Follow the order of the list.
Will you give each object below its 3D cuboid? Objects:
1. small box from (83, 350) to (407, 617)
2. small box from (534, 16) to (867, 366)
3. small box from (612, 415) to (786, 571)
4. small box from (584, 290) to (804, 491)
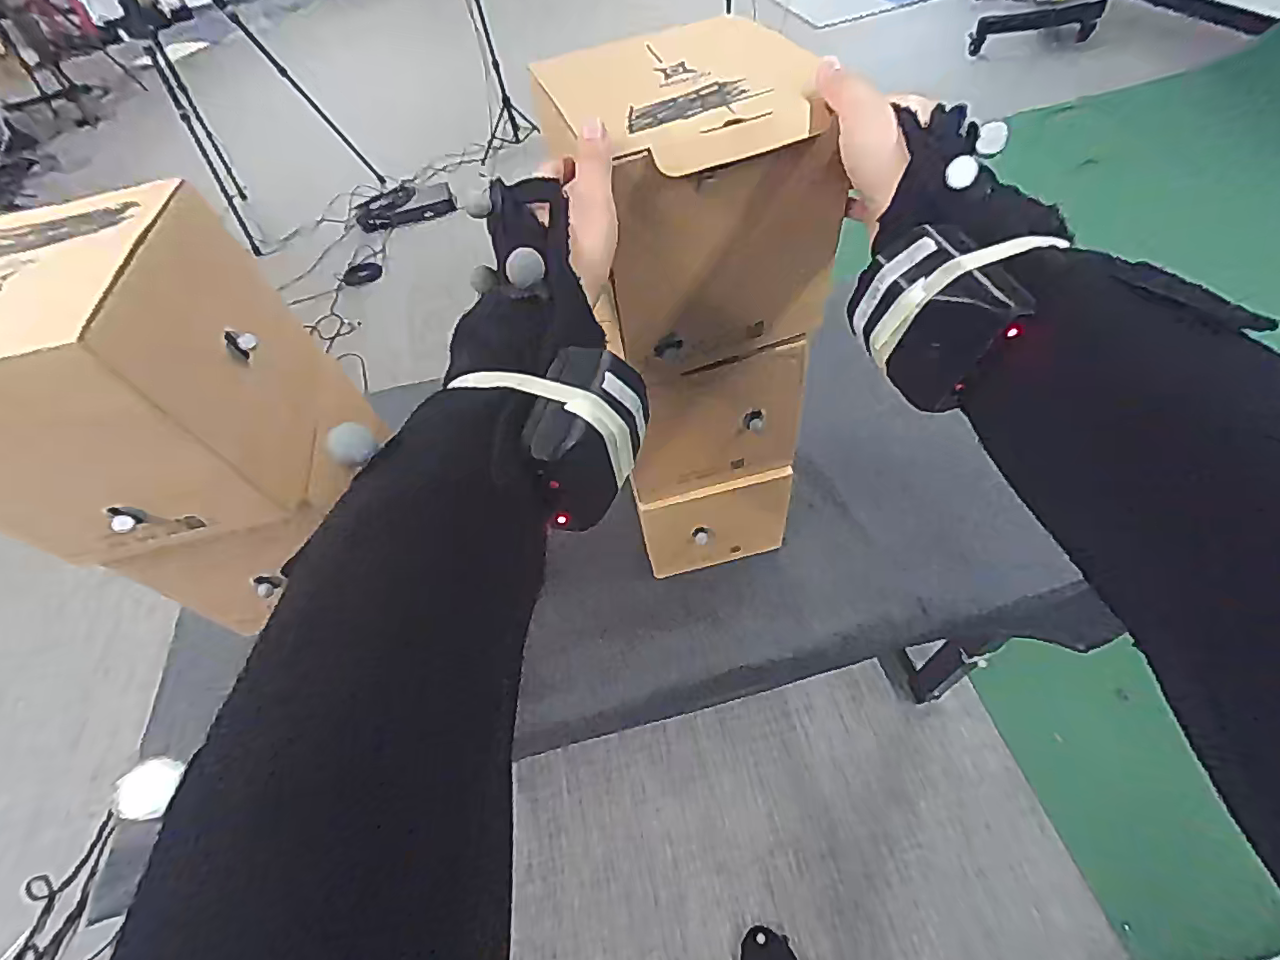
[{"bbox_3d":[-0.337,0.013,0.509,0.168,0.176,0.179,-14,53,-3],"label":"small box"},{"bbox_3d":[0.035,-0.206,0.406,0.168,0.176,0.179,-18,53,-7],"label":"small box"},{"bbox_3d":[0.069,-0.004,0.670,0.168,0.176,0.179,-14,53,-1],"label":"small box"},{"bbox_3d":[0.048,-0.107,0.546,0.168,0.176,0.179,-14,52,-3],"label":"small box"}]
